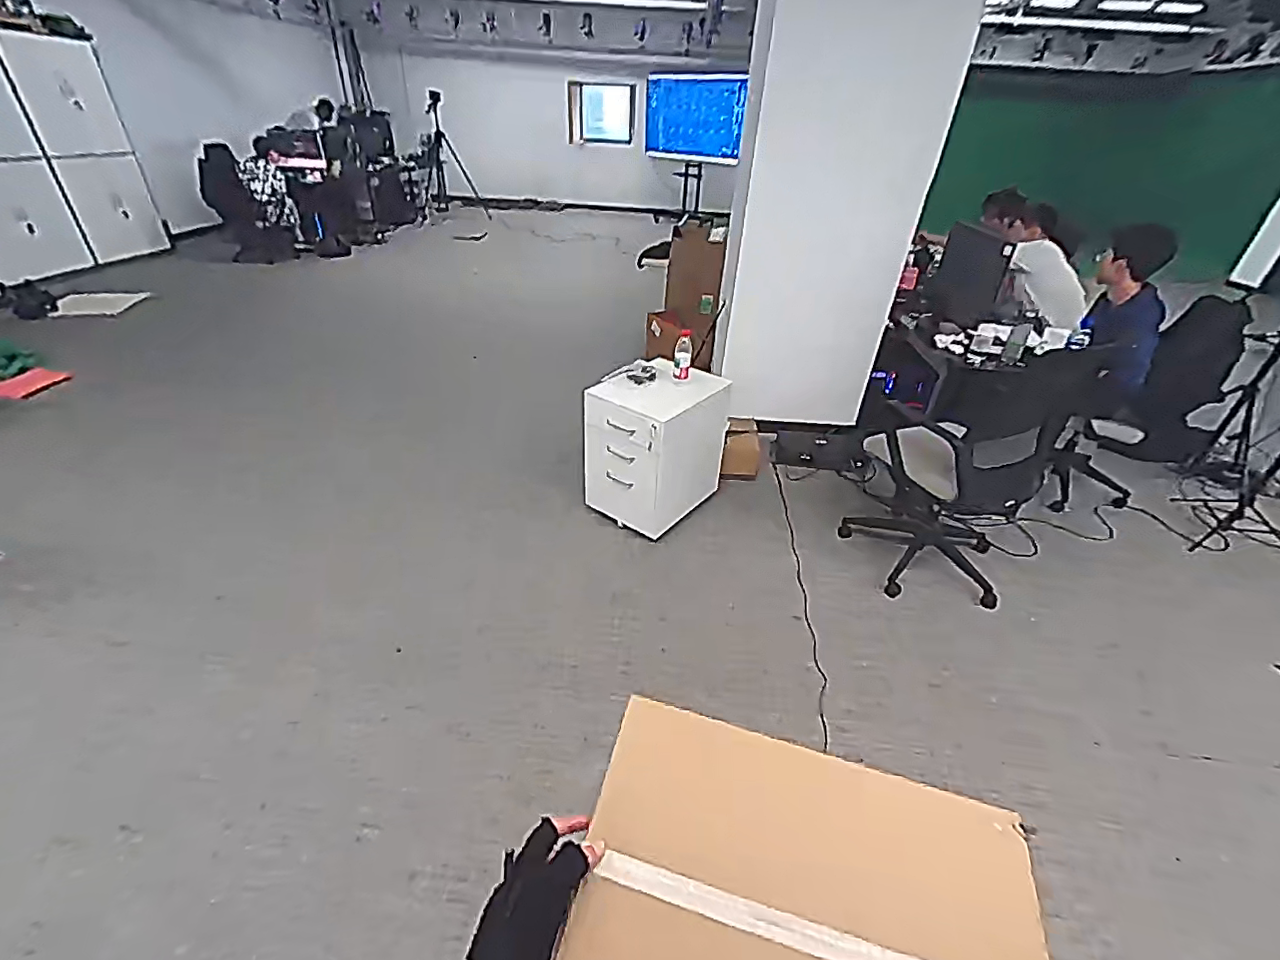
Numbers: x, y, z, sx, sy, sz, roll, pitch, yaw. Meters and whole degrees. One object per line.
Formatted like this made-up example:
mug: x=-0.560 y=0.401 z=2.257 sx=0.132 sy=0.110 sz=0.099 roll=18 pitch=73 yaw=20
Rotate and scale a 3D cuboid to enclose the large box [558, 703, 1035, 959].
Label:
large box: x=0.132 y=0.501 z=0.579 sx=0.408 sy=0.320 sz=0.320 roll=14 pitch=45 yaw=9
